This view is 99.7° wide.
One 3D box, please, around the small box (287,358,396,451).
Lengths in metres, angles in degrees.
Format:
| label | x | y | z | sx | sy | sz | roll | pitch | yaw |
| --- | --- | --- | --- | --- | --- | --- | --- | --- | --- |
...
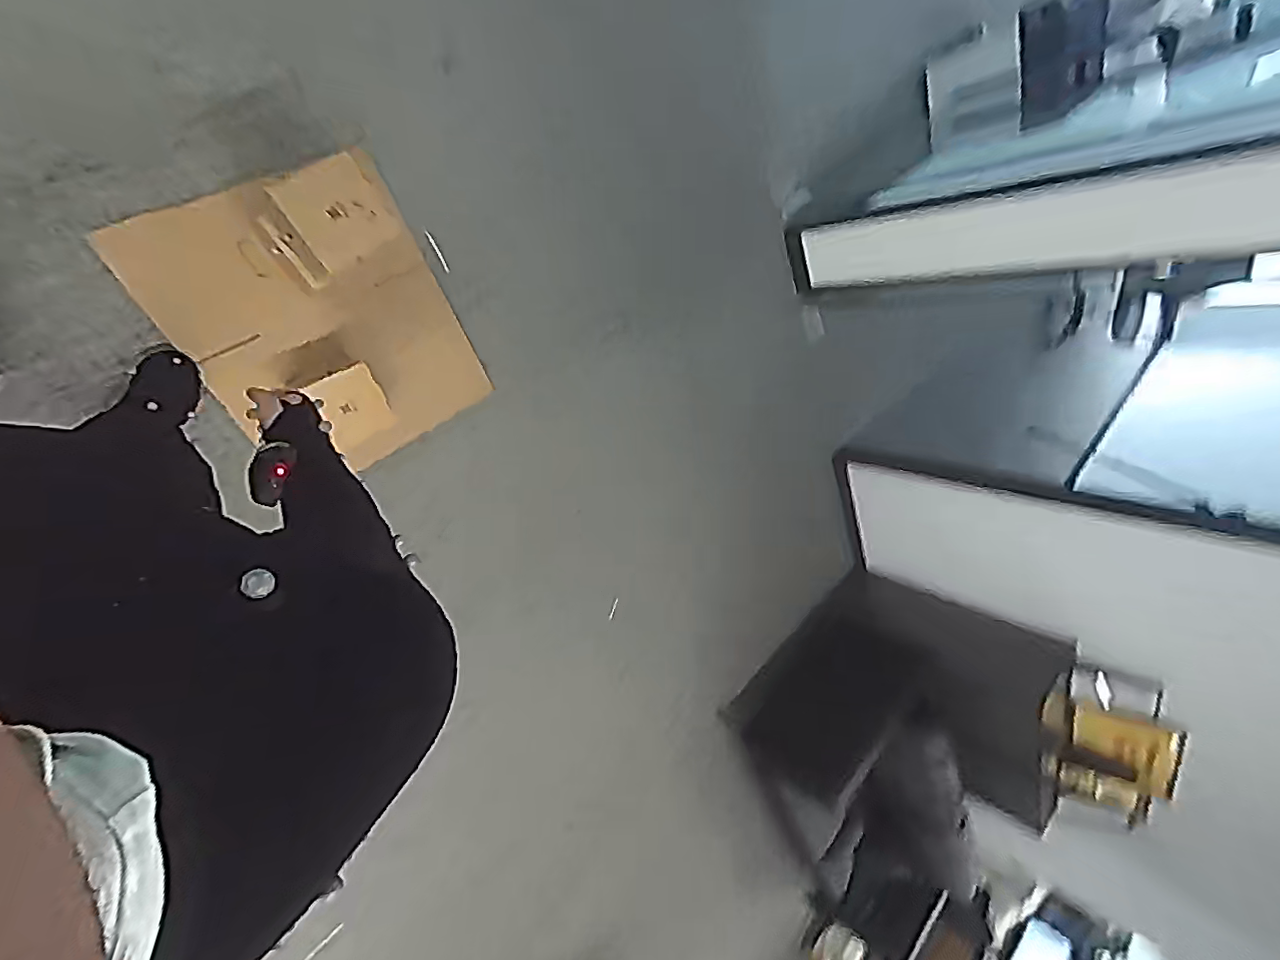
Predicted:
| label | x | y | z | sx | sy | sz | roll | pitch | yaw |
| --- | --- | --- | --- | --- | --- | --- | --- | --- | --- |
| small box | -0.748 | -0.193 | 1.344 | 0.179 | 0.176 | 0.168 | -35 | 122 | -28 |

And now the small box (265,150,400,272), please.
| label | x | y | z | sx | sy | sz | roll | pitch | yaw |
| --- | --- | --- | --- | --- | --- | --- | --- | --- | --- |
| small box | -0.639 | -0.546 | 1.117 | 0.179 | 0.176 | 0.168 | -43 | 126 | -23 |

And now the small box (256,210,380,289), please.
| label | x | y | z | sx | sy | sz | roll | pitch | yaw |
| --- | --- | --- | --- | --- | --- | --- | --- | --- | --- |
| small box | -0.744 | -0.558 | 1.246 | 0.179 | 0.176 | 0.168 | -43 | 126 | -22 |
